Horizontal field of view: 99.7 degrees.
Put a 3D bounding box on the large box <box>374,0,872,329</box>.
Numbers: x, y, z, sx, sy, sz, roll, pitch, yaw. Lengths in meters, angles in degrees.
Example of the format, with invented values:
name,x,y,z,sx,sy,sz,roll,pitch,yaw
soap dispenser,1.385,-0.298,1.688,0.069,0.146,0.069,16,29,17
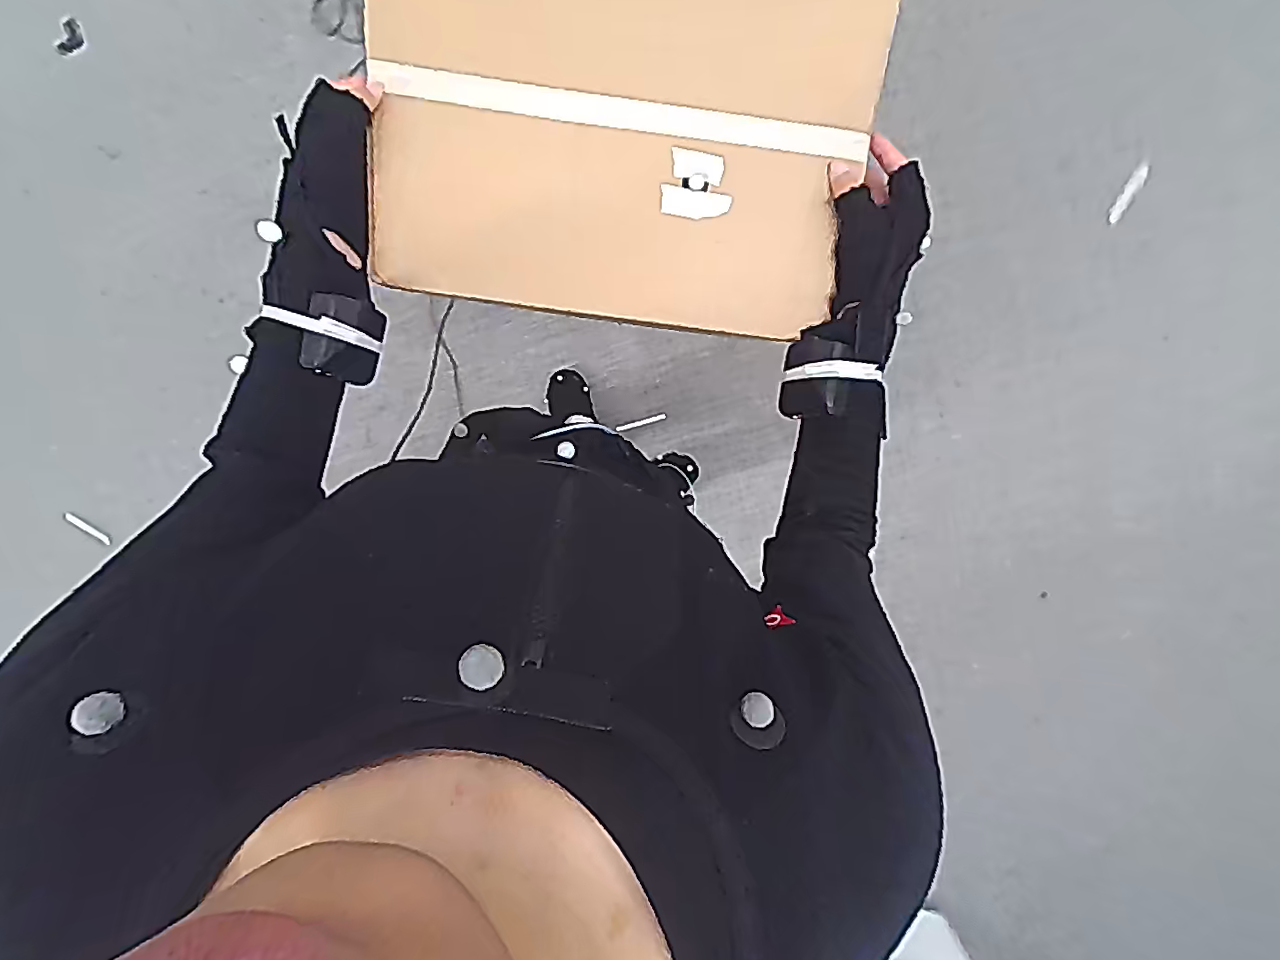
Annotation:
name,x,y,z,sx,sy,sz,roll,pitch,yaw
large box,-0.025,-0.344,0.595,0.408,0.320,0.320,6,106,-3
